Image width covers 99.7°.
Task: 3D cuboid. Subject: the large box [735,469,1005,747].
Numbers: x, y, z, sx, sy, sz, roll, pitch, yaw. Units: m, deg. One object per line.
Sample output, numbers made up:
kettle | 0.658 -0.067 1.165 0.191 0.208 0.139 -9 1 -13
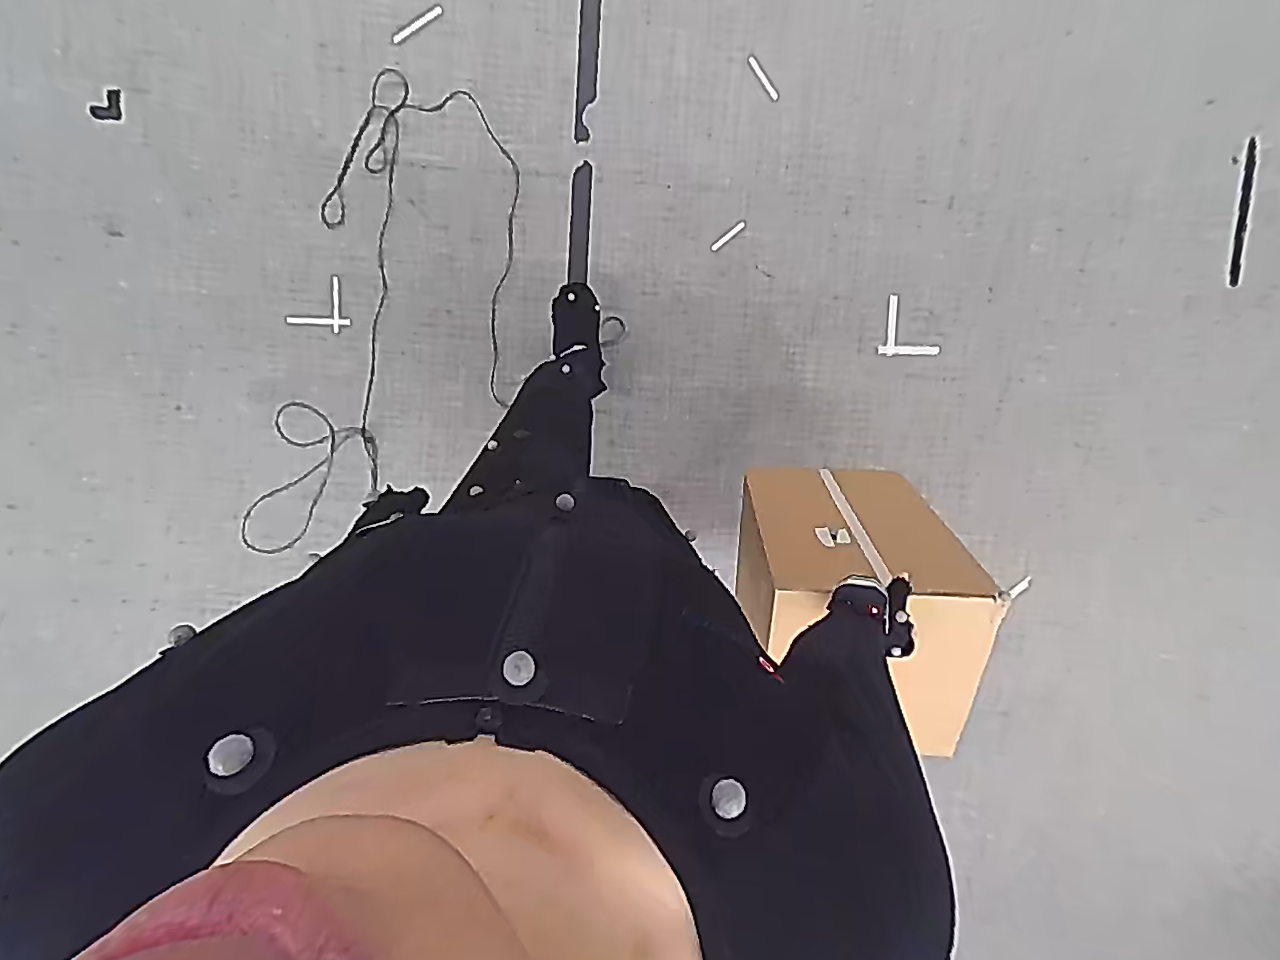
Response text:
large box | 0.361 0.207 0.992 0.320 0.408 0.320 1 117 4
